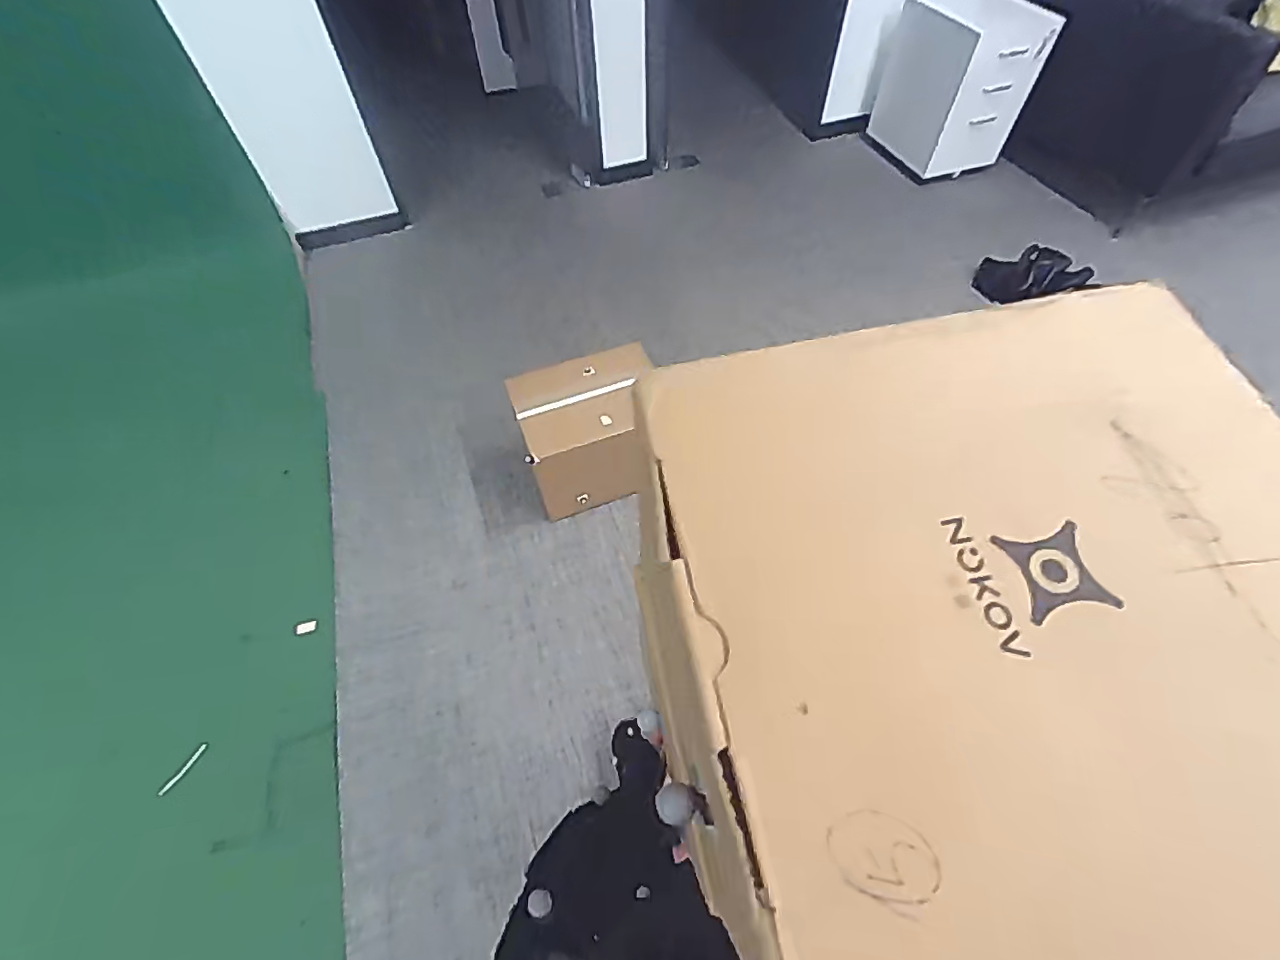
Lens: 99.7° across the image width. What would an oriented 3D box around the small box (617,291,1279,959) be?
[{"bbox_3d":[0.094,0.058,0.214,0.179,0.176,0.168,-11,64,-5],"label":"small box"}]
